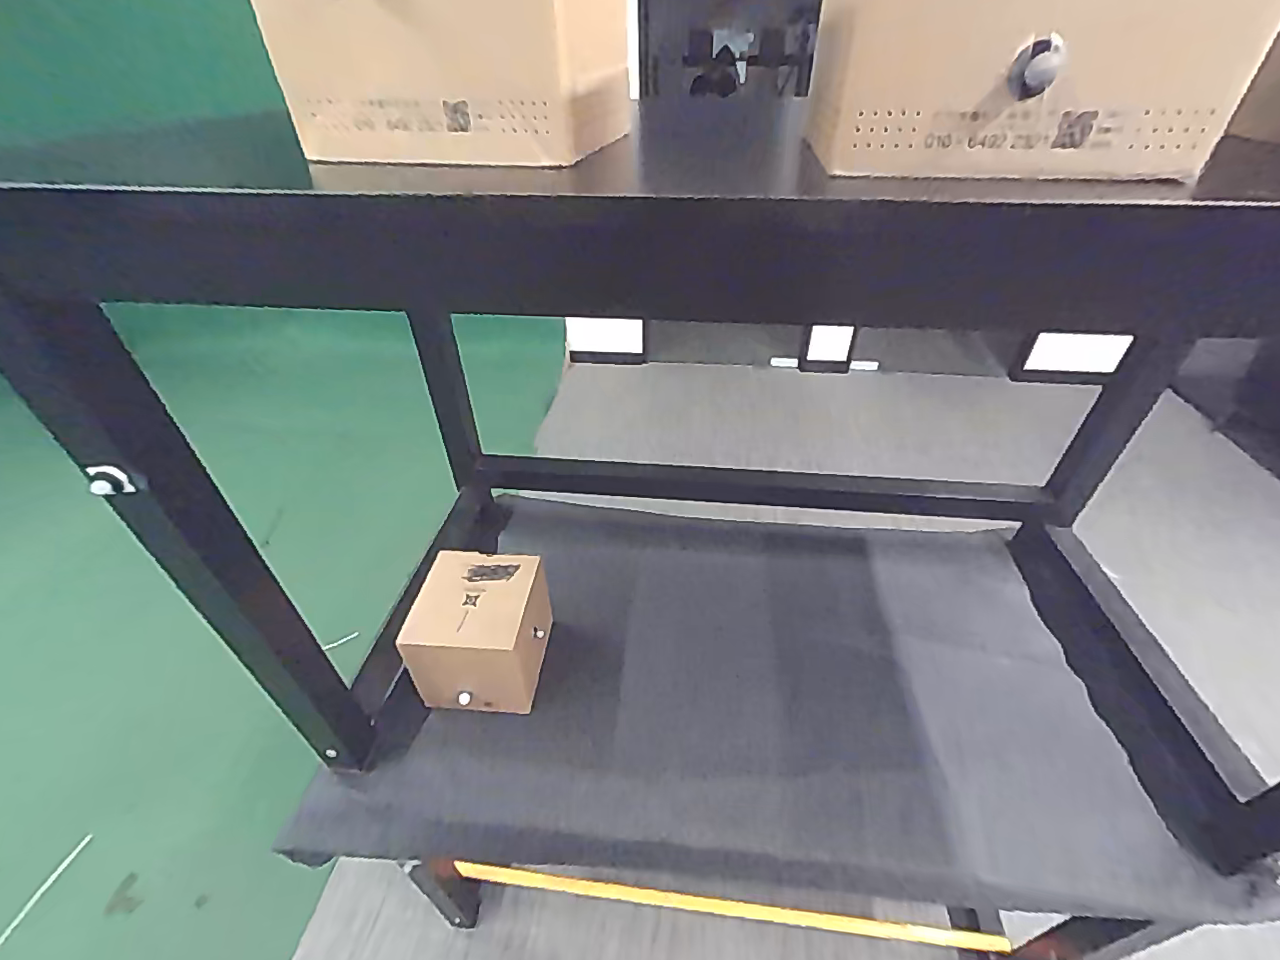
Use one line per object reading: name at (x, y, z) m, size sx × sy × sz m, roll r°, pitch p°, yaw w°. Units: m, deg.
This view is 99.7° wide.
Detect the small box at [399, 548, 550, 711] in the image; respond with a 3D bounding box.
small box at (-0.240, 0.228, 0.838) m, size 0.168 × 0.176 × 0.179 m, roll 2°, pitch 39°, yaw 4°

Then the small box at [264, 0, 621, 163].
small box at (-0.108, -0.302, 0.333) m, size 0.168 × 0.176 × 0.179 m, roll 6°, pitch 38°, yaw 9°
